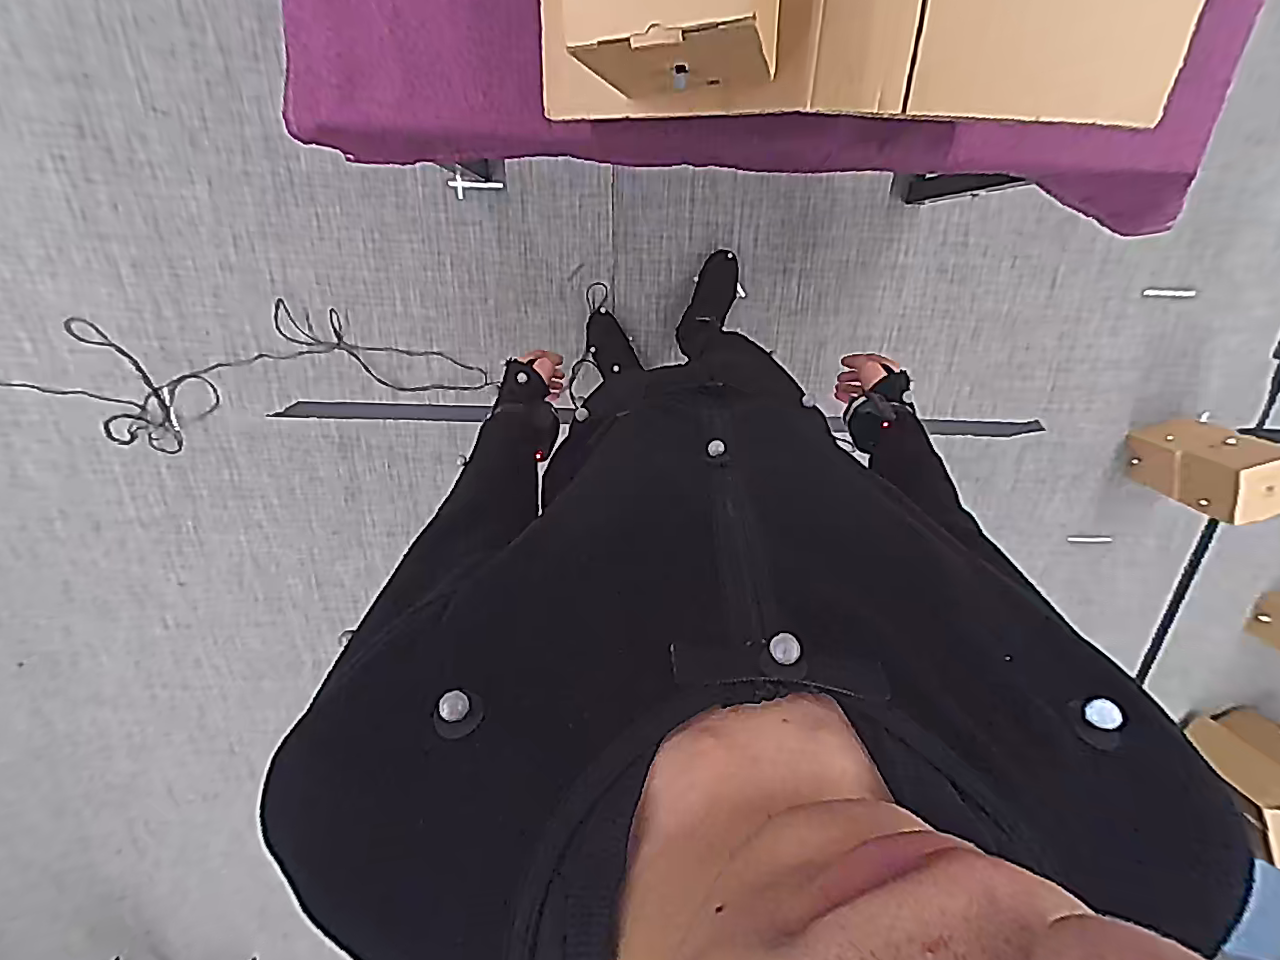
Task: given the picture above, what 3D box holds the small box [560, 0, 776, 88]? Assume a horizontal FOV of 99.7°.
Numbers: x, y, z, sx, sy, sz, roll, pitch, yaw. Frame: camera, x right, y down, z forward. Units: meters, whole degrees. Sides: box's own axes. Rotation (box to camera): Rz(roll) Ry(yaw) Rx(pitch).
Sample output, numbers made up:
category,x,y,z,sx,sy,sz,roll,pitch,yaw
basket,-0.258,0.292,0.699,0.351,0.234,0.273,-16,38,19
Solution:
category,x,y,z,sx,sy,sz,roll,pitch,yaw
small box,0.034,-0.475,0.484,0.168,0.176,0.179,6,114,16
